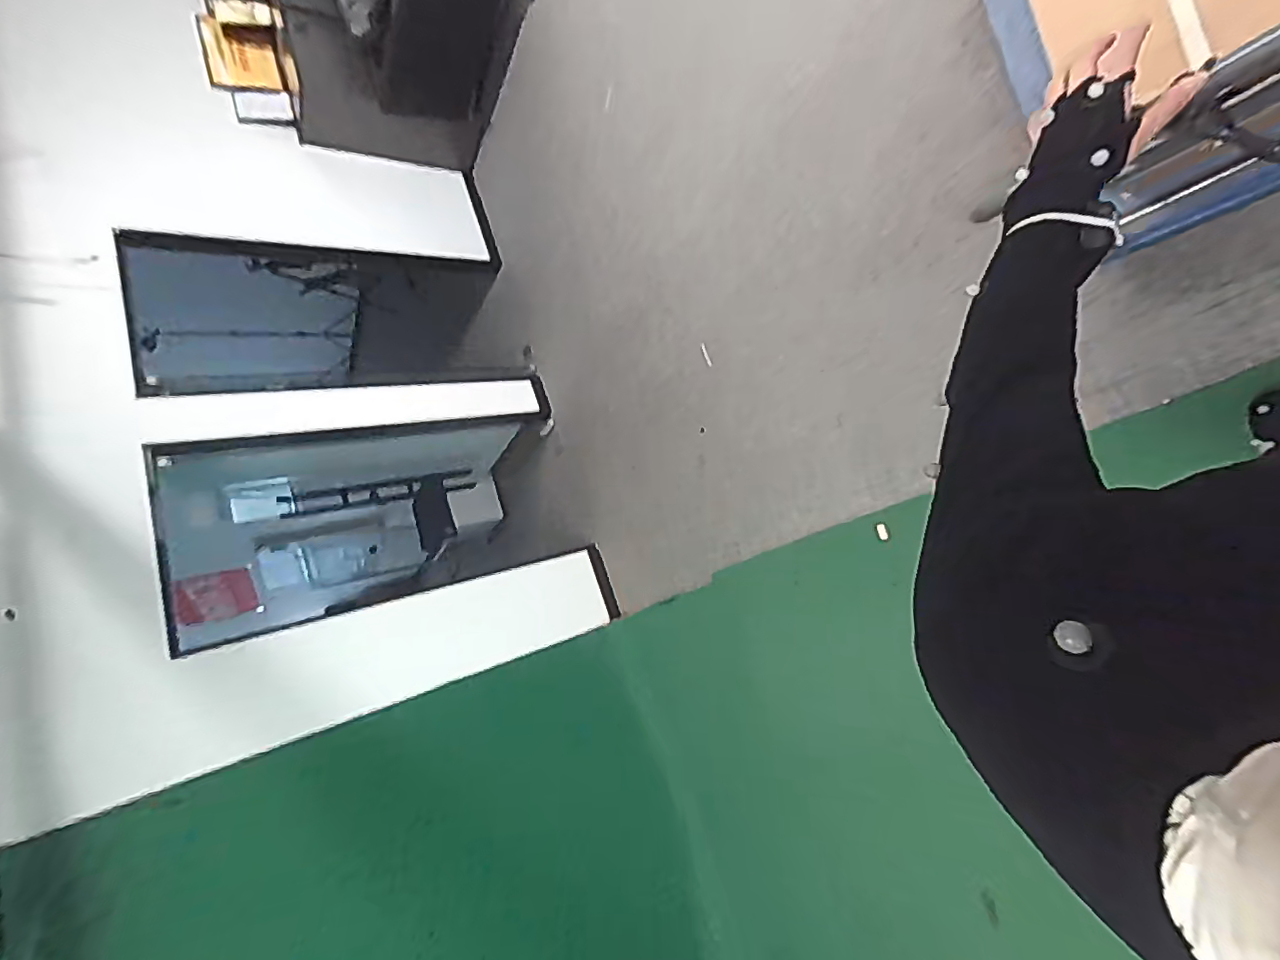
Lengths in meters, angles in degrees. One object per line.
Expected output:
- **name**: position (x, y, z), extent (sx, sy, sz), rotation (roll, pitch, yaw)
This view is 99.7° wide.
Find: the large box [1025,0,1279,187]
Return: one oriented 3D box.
- **large box**: position (0.906, -0.784, 0.898), extent (0.320, 0.320, 0.408), rotation (-20, 82, 53)
